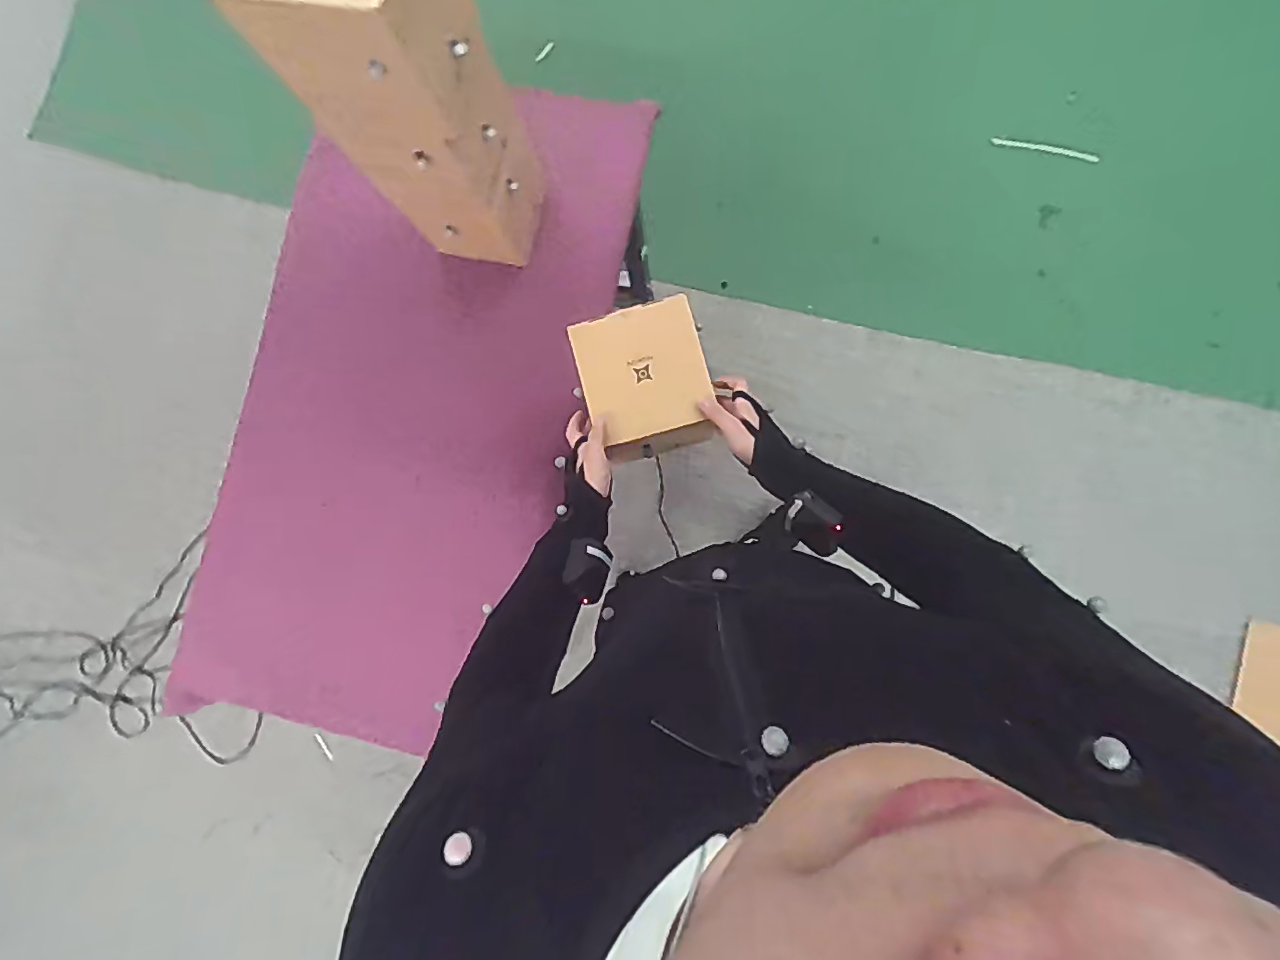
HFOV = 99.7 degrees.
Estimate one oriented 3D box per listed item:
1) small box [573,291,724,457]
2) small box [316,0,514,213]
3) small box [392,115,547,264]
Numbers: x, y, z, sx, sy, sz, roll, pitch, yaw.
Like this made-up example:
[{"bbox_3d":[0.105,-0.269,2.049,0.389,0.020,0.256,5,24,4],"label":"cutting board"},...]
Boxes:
[{"bbox_3d":[0.017,-0.136,0.775,0.168,0.176,0.179,-15,84,3],"label":"small box"},{"bbox_3d":[-0.292,-0.497,0.743,0.179,0.176,0.168,13,87,7],"label":"small box"},{"bbox_3d":[-0.275,-0.485,0.907,0.179,0.176,0.168,12,88,7],"label":"small box"}]
